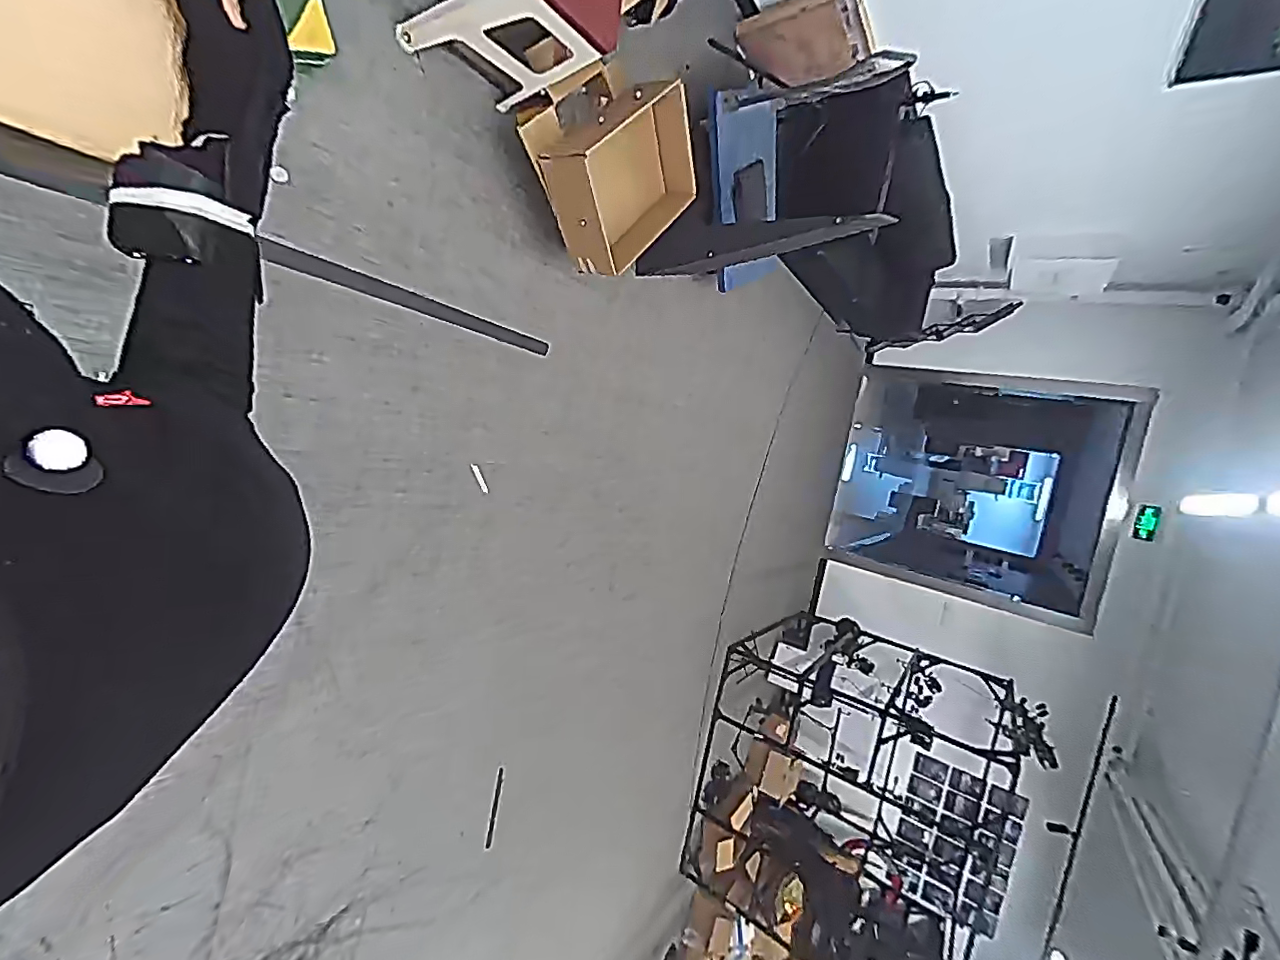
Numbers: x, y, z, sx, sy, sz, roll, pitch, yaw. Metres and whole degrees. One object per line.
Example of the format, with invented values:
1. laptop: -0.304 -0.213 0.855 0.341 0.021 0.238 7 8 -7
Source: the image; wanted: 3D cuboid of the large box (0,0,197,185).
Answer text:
1. large box: -0.540 -0.406 0.287 0.408 0.320 0.320 -2 109 -60
